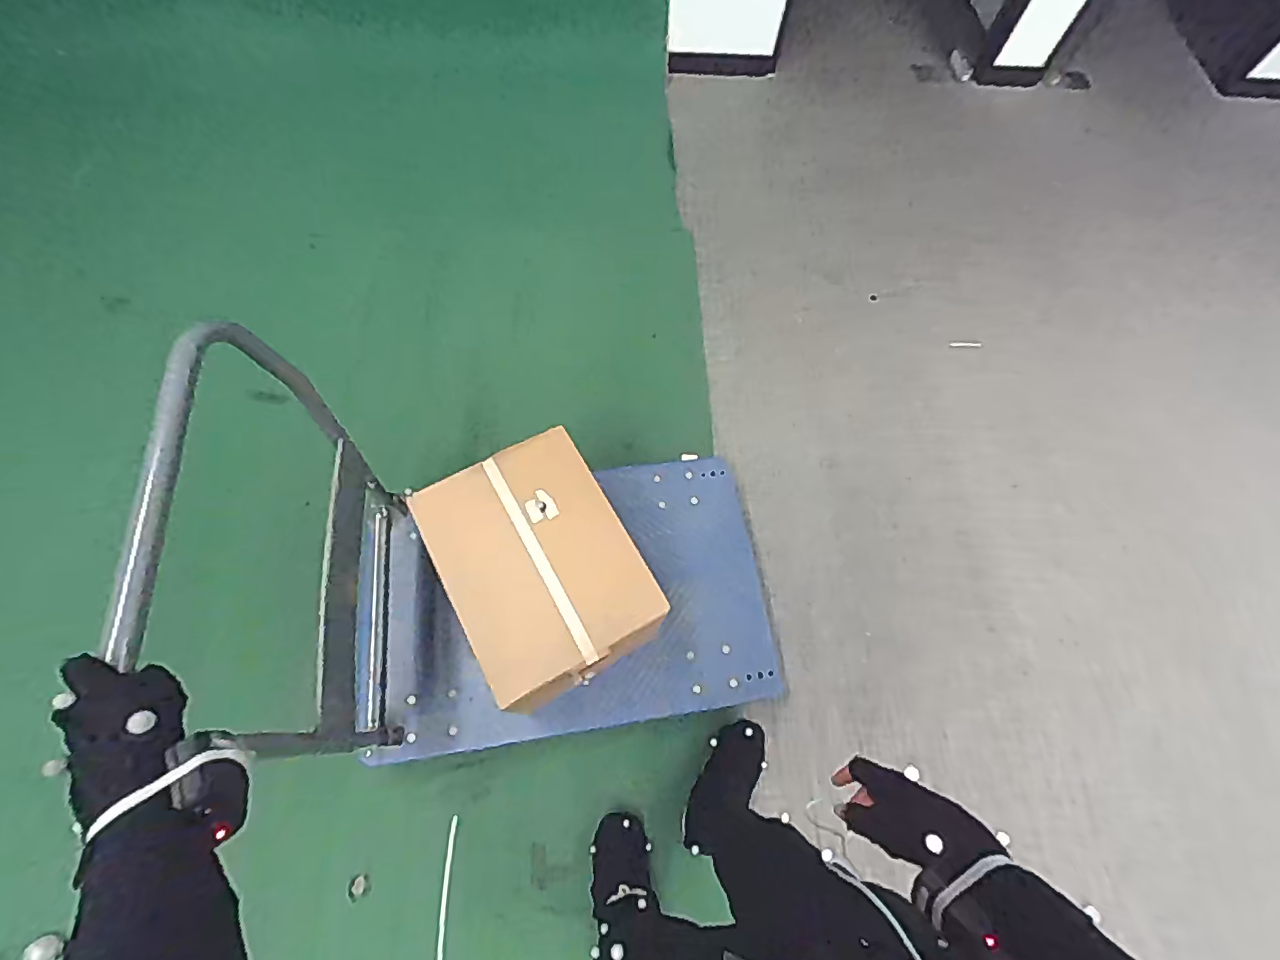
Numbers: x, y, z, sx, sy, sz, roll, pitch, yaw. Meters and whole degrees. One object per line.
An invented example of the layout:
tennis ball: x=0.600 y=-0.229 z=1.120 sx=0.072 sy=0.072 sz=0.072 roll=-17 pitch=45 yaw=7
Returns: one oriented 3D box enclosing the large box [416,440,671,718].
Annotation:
large box: x=-0.178 y=0.205 z=1.077 sx=0.320 sy=0.320 sz=0.408 roll=-27 pitch=68 yaw=-15
